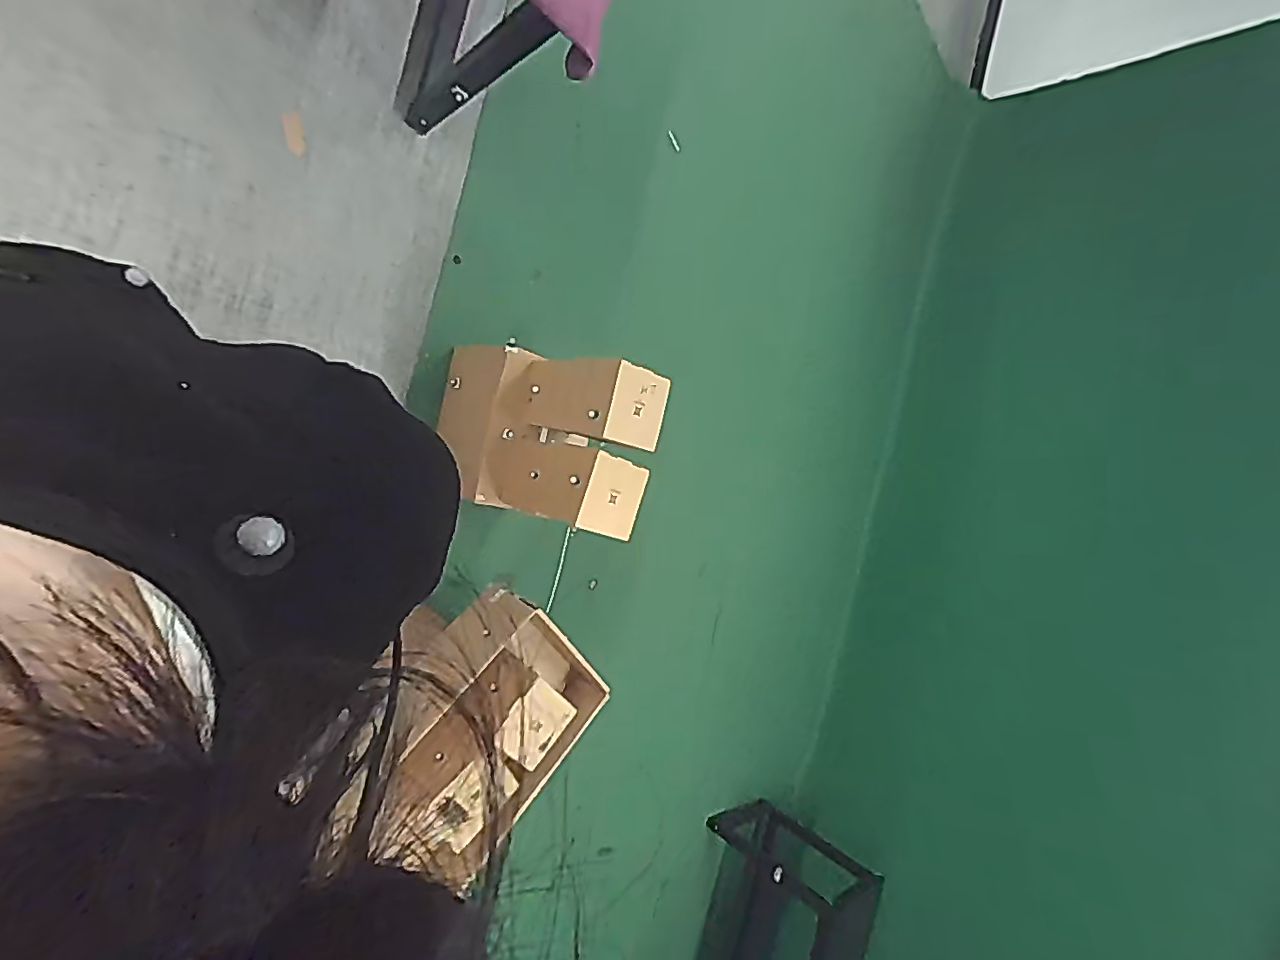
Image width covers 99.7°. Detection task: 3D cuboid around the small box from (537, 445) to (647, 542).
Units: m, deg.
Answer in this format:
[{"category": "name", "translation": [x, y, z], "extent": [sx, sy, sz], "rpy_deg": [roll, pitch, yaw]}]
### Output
[{"category": "small box", "translation": [-0.116, 0.029, 1.254], "extent": [0.168, 0.176, 0.179], "rpy_deg": [22, 83, -43]}]

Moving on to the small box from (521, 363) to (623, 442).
[{"category": "small box", "translation": [-0.174, -0.198, 1.374], "extent": [0.179, 0.176, 0.168], "rpy_deg": [9, 93, -44]}]
